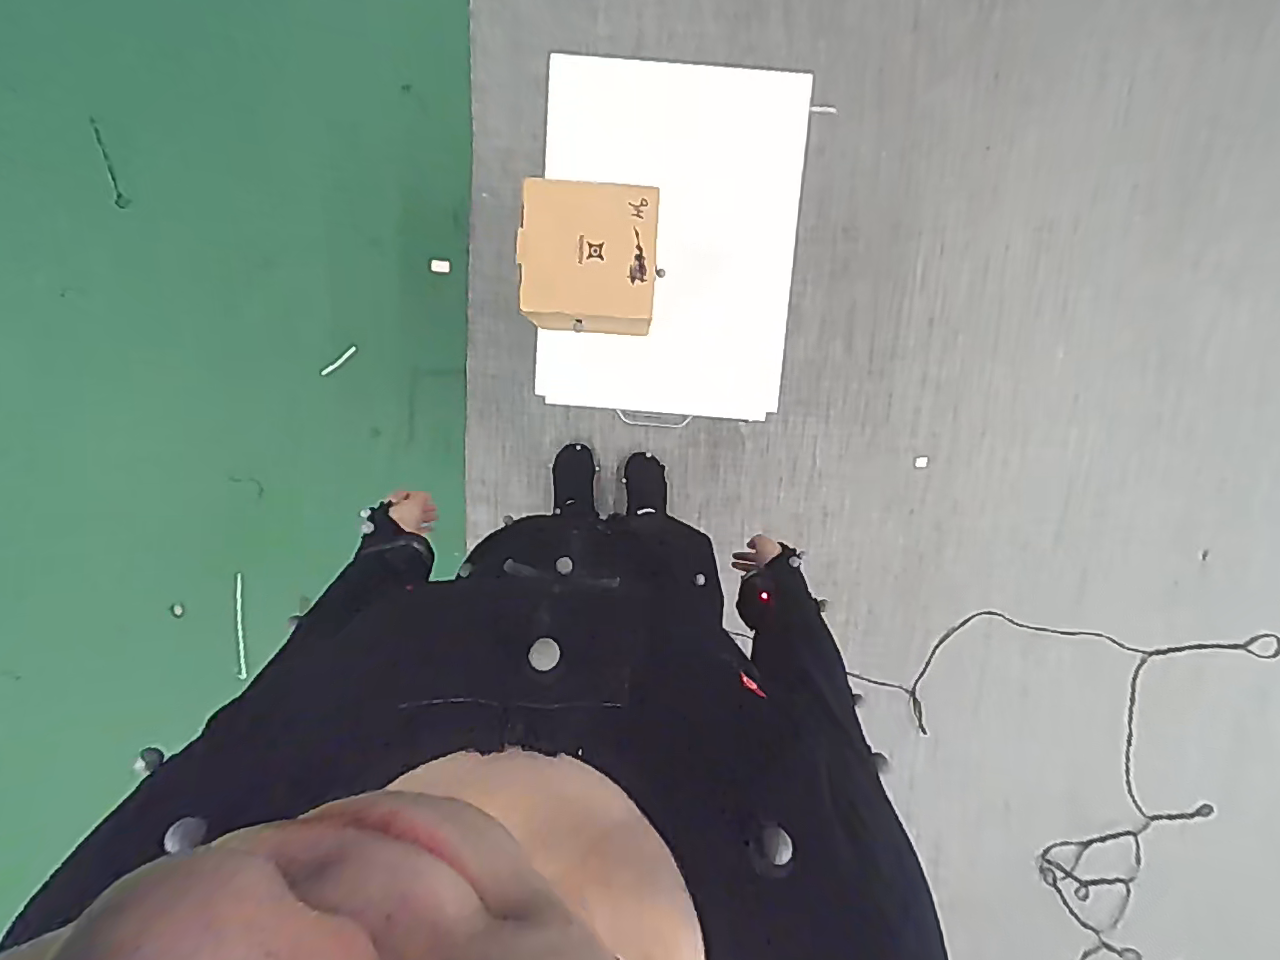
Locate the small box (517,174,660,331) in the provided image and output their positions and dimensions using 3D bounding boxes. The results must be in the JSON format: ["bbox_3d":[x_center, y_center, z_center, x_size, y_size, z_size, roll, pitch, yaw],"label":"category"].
[{"bbox_3d":[-0.067,-0.308,0.764,0.179,0.176,0.168,3,99,-1],"label":"small box"}]
